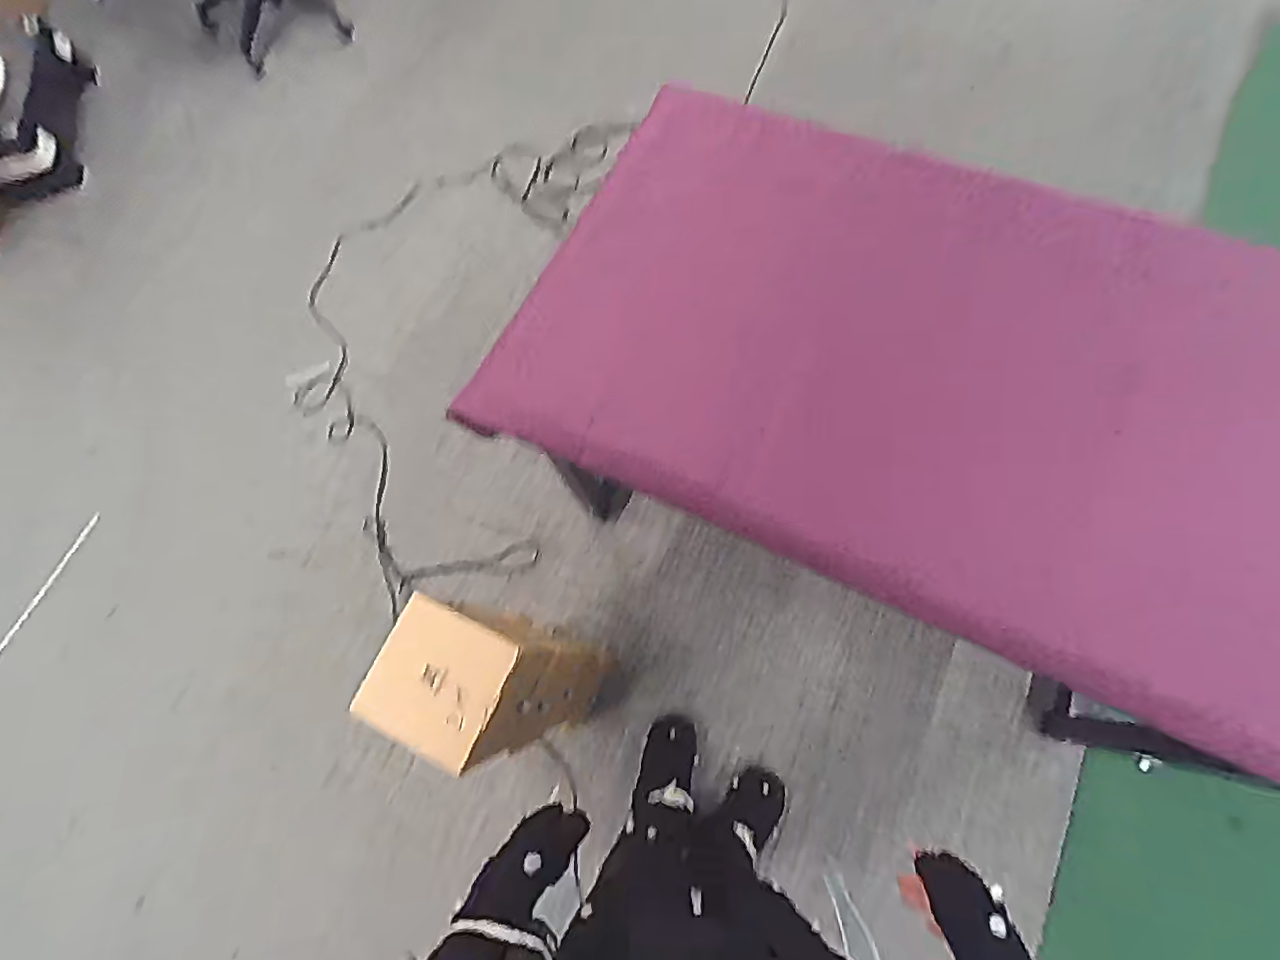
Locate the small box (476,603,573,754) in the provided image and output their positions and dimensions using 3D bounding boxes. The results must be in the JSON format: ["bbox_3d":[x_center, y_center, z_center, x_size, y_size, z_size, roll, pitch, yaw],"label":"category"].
[{"bbox_3d":[-0.230,0.329,0.923,0.168,0.176,0.179,24,78,13],"label":"small box"}]

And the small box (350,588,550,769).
[{"bbox_3d":[-0.256,0.274,0.770,0.179,0.176,0.168,24,78,12],"label":"small box"}]
